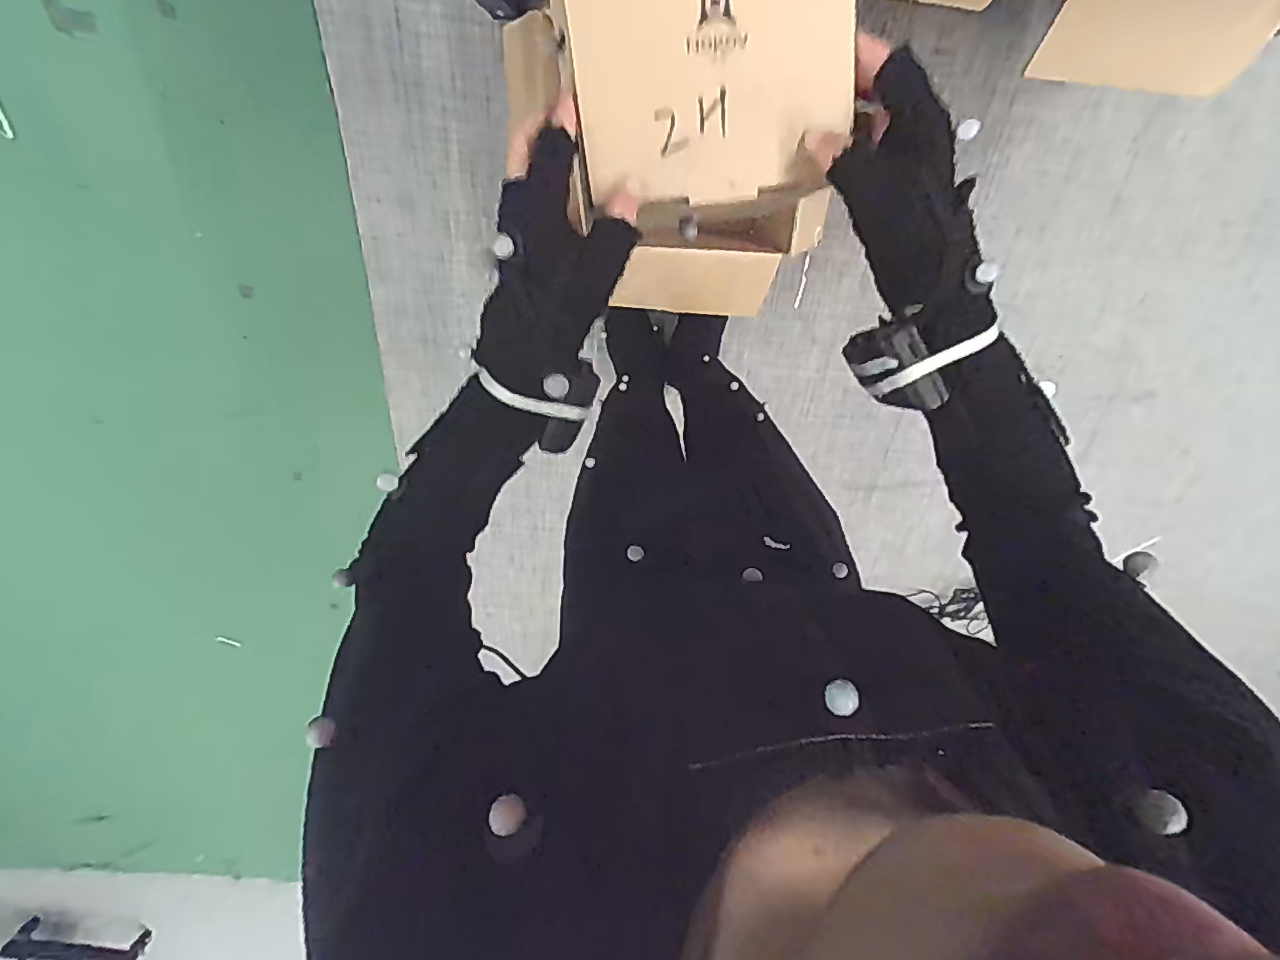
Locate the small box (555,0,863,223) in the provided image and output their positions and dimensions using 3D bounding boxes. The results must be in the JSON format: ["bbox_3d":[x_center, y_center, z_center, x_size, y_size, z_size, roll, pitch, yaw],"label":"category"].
[{"bbox_3d":[0.033,-0.287,0.369,0.168,0.176,0.179,-8,111,-4],"label":"small box"}]
